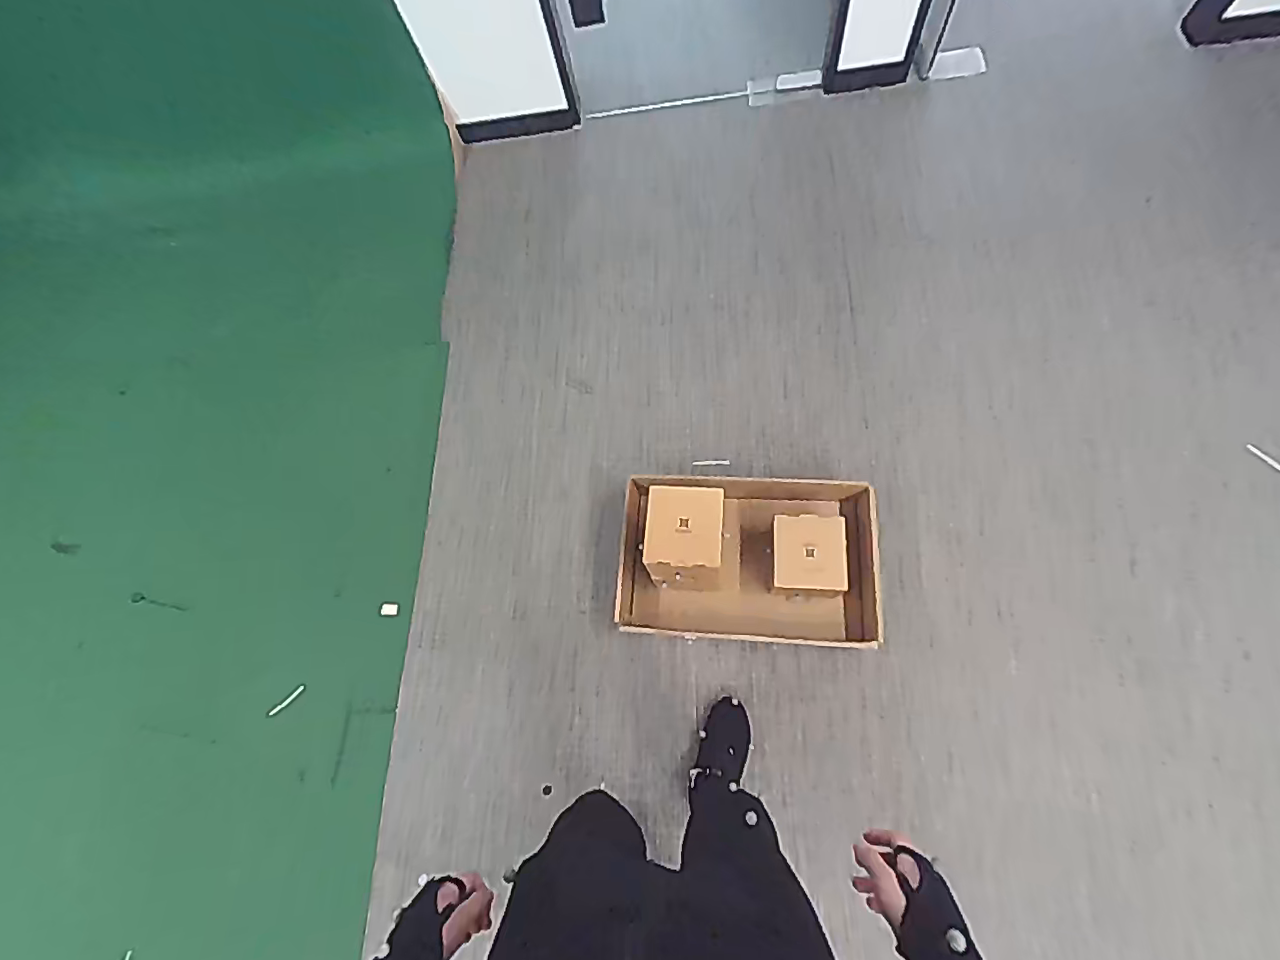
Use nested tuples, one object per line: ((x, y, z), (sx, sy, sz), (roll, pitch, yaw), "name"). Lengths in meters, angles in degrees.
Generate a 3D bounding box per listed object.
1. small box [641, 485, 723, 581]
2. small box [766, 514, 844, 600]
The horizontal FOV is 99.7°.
((0.099, 0.124, 1.232), (0.168, 0.176, 0.179), (3, 71, 8), "small box")
((0.402, 0.193, 1.338), (0.168, 0.176, 0.179), (2, 72, 10), "small box")
